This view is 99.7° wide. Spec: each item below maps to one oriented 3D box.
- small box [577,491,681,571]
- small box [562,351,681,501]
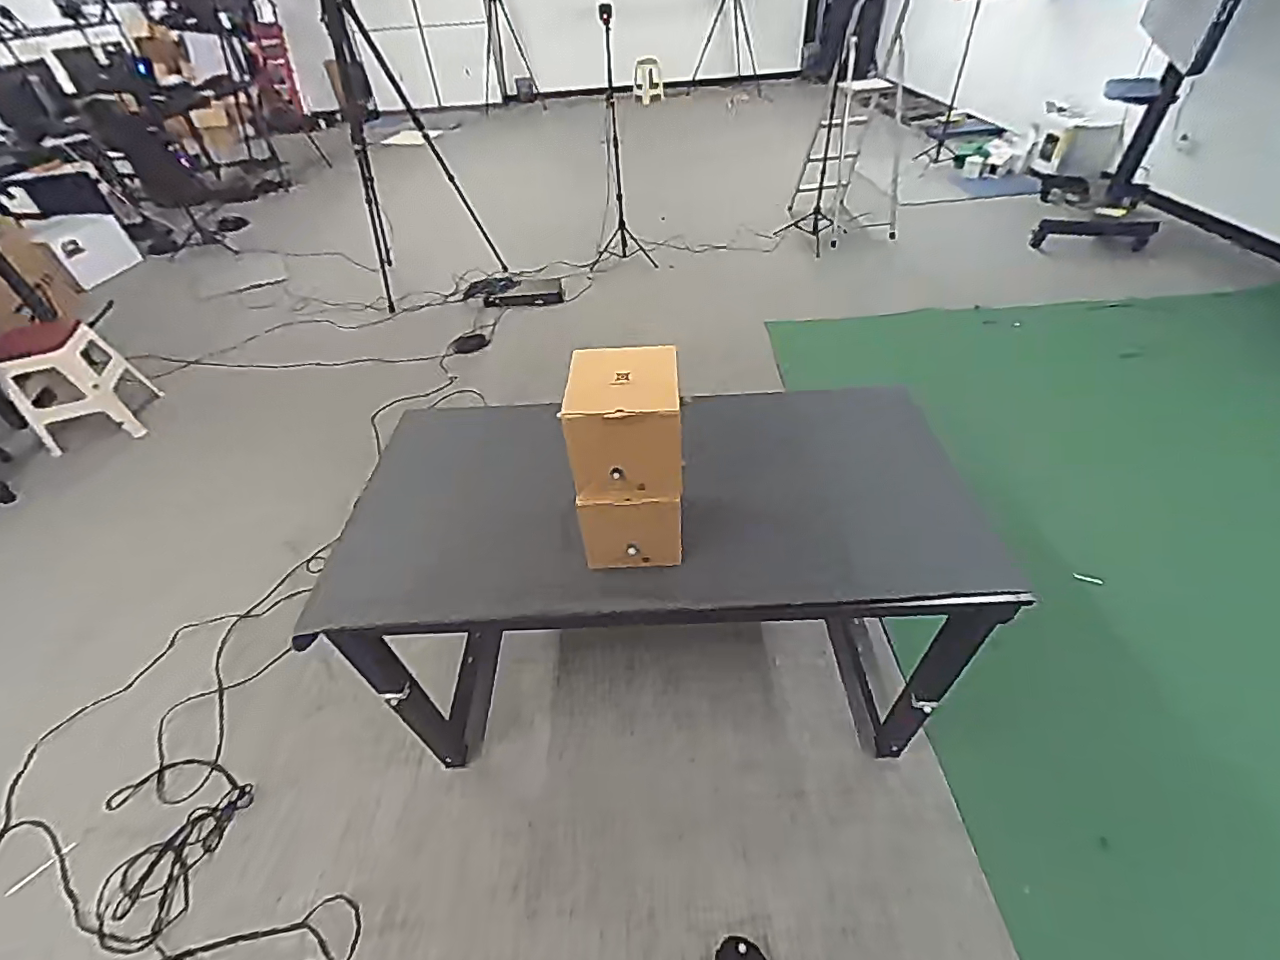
[{"bbox_3d":[-0.013,0.040,0.955,0.168,0.176,0.179,-3,43,3],"label":"small box"},{"bbox_3d":[-0.021,-0.085,0.852,0.168,0.176,0.179,-2,43,3],"label":"small box"}]
